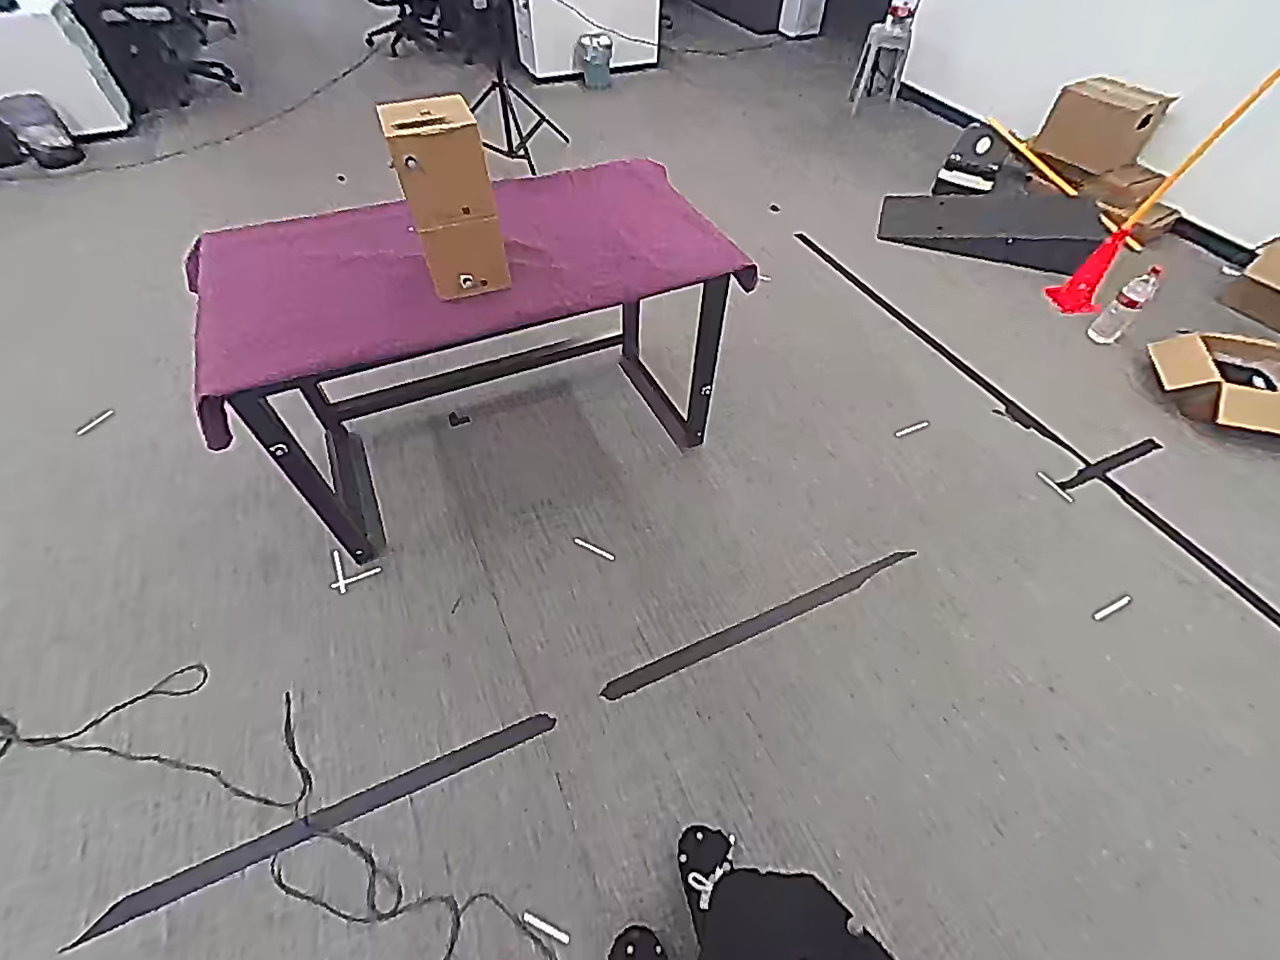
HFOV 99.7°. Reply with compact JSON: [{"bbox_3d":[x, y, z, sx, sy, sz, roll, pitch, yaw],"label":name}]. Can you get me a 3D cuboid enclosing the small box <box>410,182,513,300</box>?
[{"bbox_3d":[-0.395,-0.533,1.210,0.168,0.176,0.179,-18,55,-14],"label":"small box"}]
